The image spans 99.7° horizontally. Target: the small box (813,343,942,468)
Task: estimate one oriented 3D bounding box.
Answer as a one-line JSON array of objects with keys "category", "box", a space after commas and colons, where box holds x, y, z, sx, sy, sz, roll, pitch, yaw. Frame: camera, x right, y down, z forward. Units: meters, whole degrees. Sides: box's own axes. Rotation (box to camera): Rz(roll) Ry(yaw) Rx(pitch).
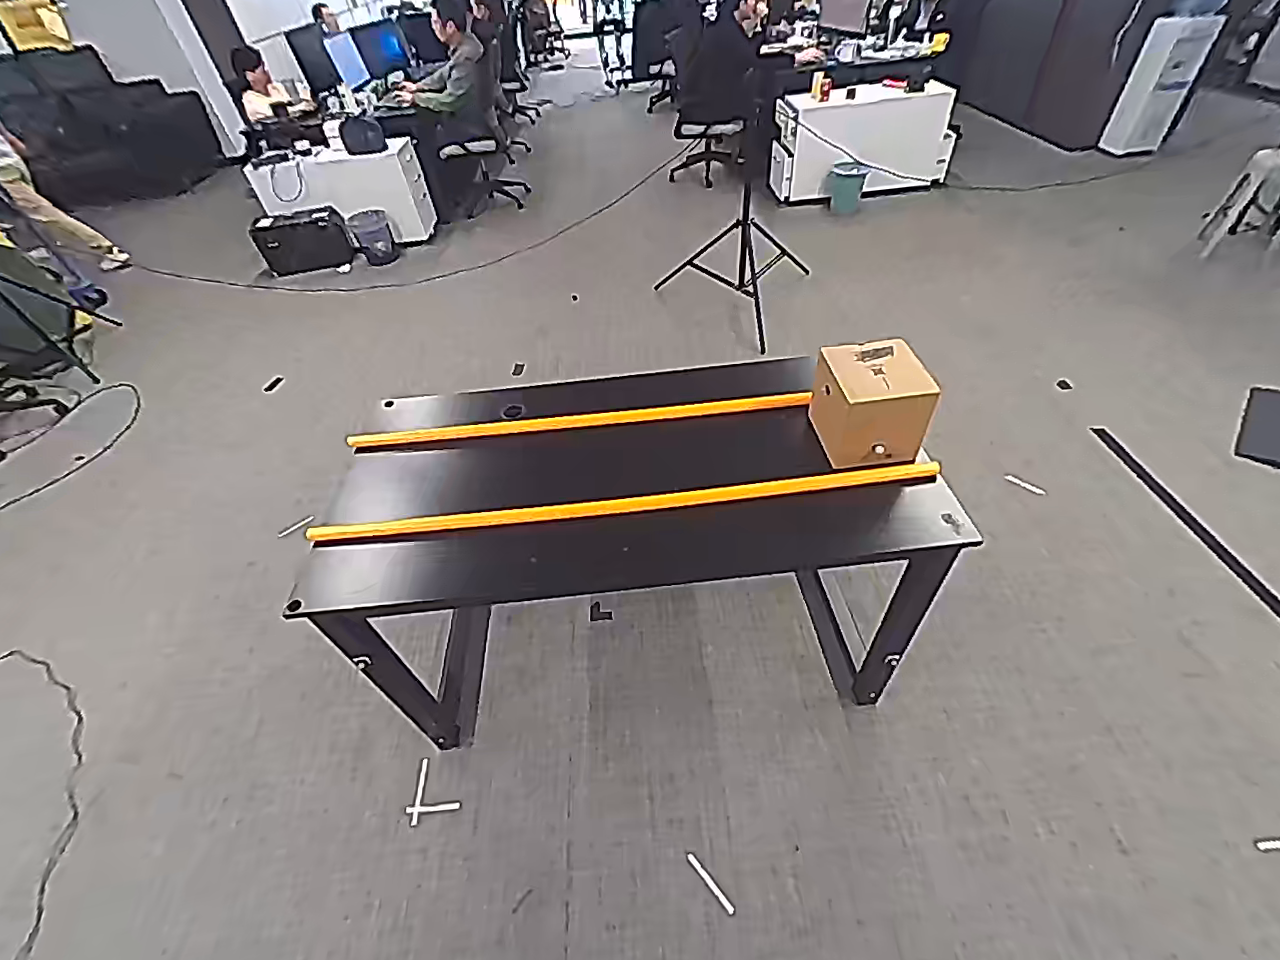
[{"category": "small box", "box": [0.452, -0.146, 1.067, 0.168, 0.176, 0.179, -7, 46, 1]}]
